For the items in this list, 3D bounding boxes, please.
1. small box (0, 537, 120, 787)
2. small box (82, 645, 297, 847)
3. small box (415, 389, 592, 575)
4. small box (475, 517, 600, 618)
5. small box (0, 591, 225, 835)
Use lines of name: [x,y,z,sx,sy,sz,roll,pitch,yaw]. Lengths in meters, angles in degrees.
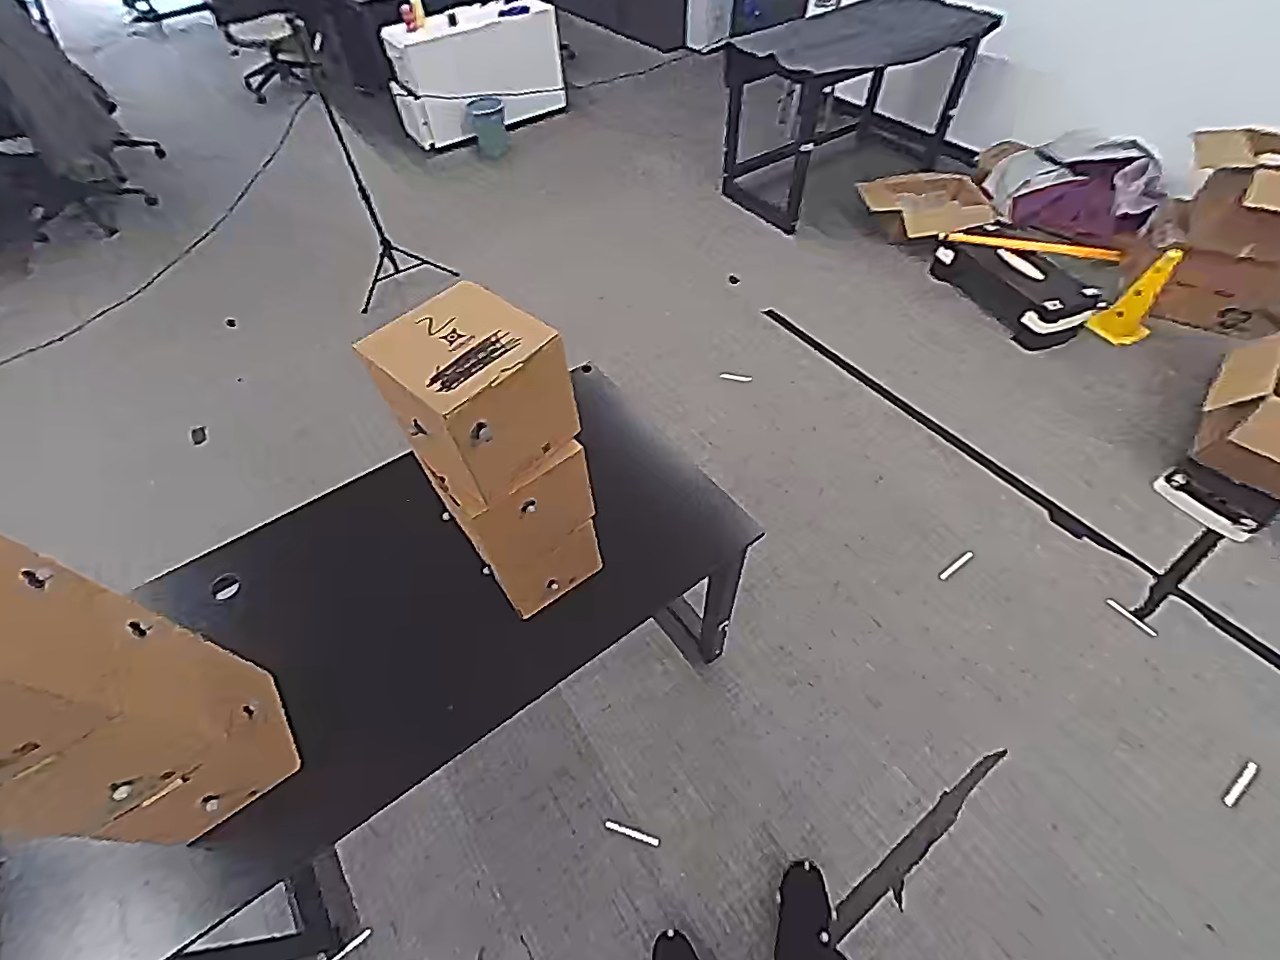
small box: [-0.626,0.170,0.483,0.168,0.176,0.179,-33,59,-19]
small box: [-0.615,0.367,0.745,0.168,0.176,0.179,-32,59,-20]
small box: [-0.186,0.007,0.788,0.179,0.176,0.168,-35,60,-22]
small box: [-0.184,0.101,0.923,0.168,0.176,0.179,-32,59,-19]
small box: [-0.622,0.267,0.613,0.168,0.176,0.179,-32,59,-19]
